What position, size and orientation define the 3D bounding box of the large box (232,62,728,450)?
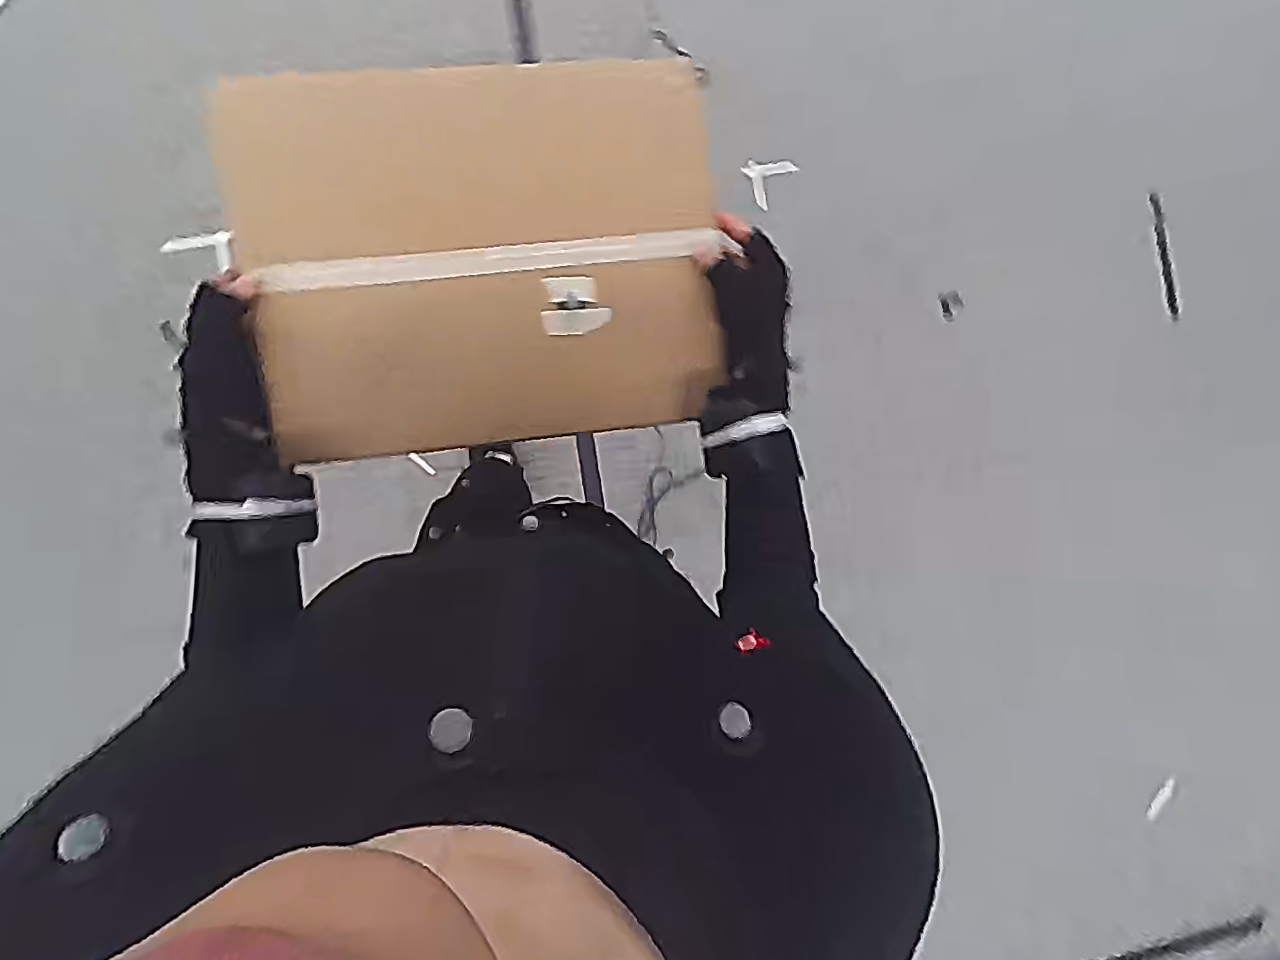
[{"bbox_3d":[-0.146,-0.218,0.630,0.408,0.320,0.320,-7,98,-7],"label":"large box"}]
